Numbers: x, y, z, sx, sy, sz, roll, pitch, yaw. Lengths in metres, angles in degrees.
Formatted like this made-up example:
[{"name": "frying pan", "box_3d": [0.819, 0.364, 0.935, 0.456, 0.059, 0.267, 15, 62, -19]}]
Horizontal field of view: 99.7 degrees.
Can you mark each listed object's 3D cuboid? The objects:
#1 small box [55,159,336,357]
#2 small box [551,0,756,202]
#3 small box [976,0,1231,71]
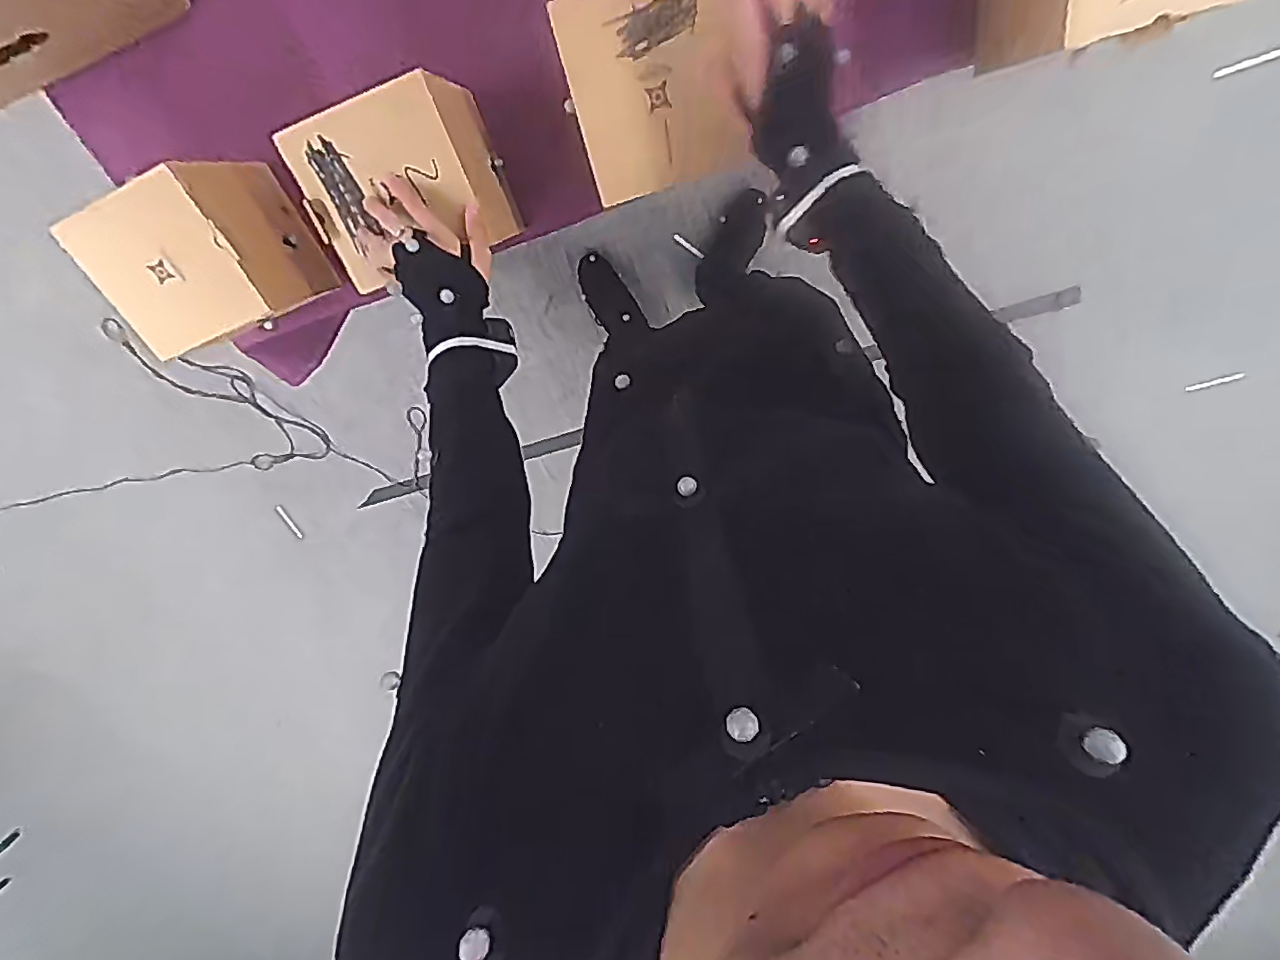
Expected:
[{"name": "small box", "box_3d": [-0.537, -0.281, 0.684, 0.179, 0.176, 0.168, -19, 118, 11]}, {"name": "small box", "box_3d": [0.018, -0.420, 0.585, 0.168, 0.176, 0.179, -13, 120, 9]}, {"name": "small box", "box_3d": [0.444, -0.523, 0.509, 0.168, 0.176, 0.179, -11, 119, 9]}]
